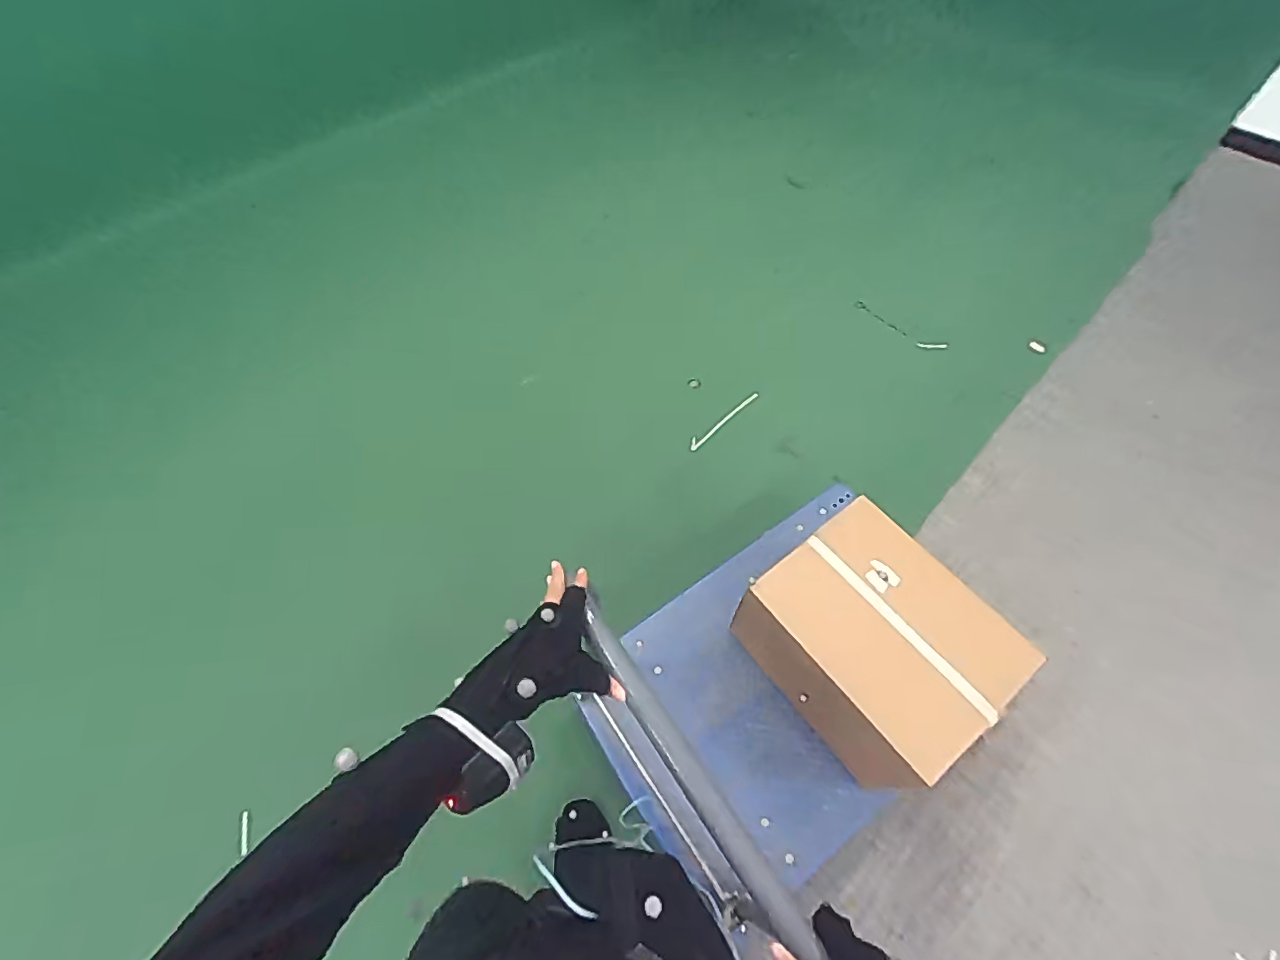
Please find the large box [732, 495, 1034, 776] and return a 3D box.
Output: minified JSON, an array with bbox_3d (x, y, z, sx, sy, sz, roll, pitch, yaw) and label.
[{"bbox_3d":[0.443,0.316,1.089,0.320,0.320,0.408,-34,64,-17],"label":"large box"}]
